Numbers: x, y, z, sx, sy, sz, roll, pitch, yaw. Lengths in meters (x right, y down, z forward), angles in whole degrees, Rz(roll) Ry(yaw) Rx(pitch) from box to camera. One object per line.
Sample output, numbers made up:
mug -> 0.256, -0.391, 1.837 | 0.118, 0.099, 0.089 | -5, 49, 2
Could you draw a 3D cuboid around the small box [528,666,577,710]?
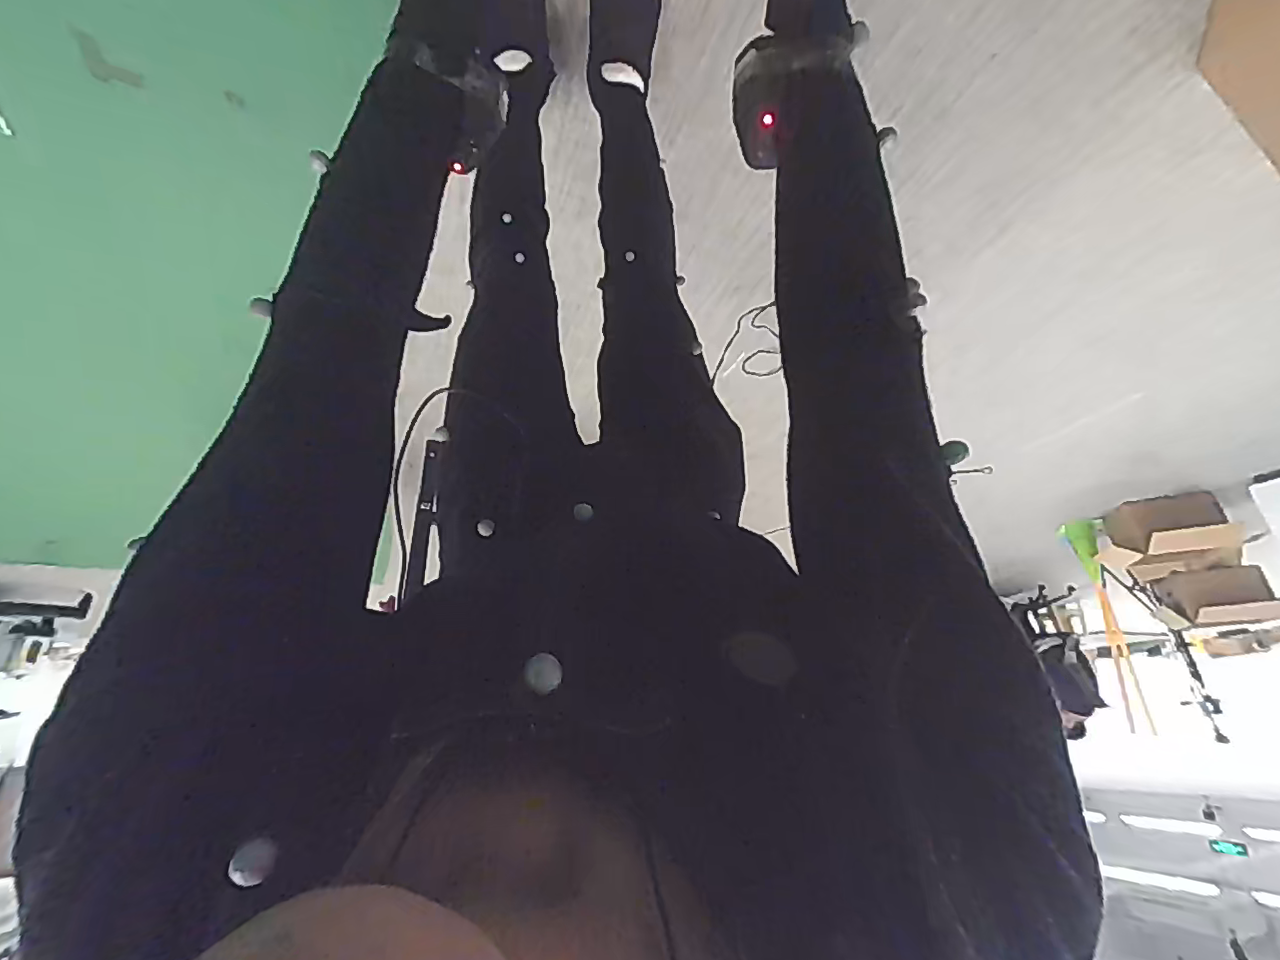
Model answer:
small box -> -0.372, 0.880, 2.271 | 0.168, 0.176, 0.179 | 10, 150, -23
